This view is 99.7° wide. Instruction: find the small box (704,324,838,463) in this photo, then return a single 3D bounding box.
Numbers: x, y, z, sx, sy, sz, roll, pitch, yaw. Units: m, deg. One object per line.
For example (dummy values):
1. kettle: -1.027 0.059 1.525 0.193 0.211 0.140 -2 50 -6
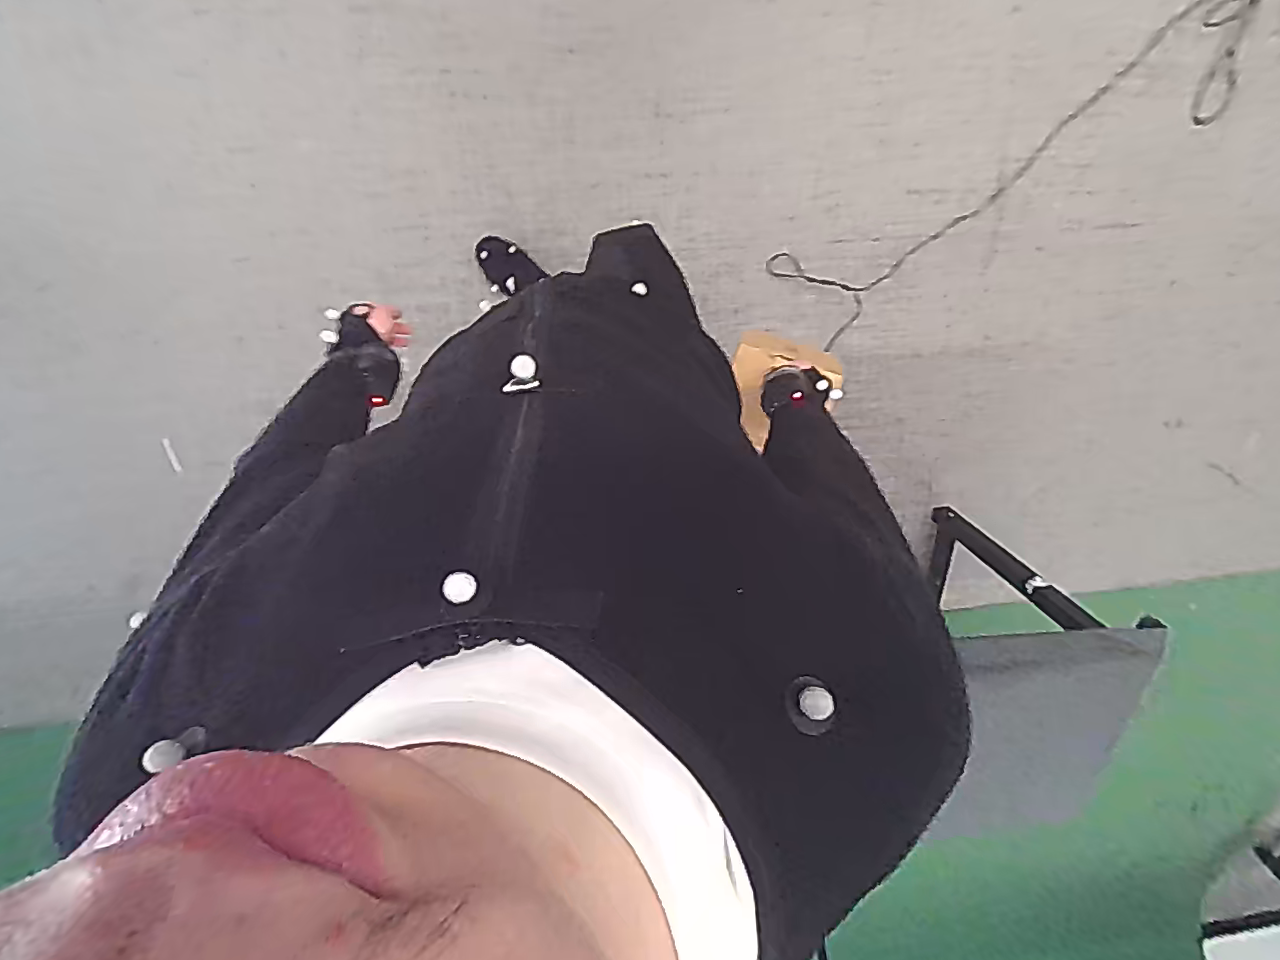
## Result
1. small box: 0.218 -0.149 0.923 0.168 0.179 0.176 21 116 4
